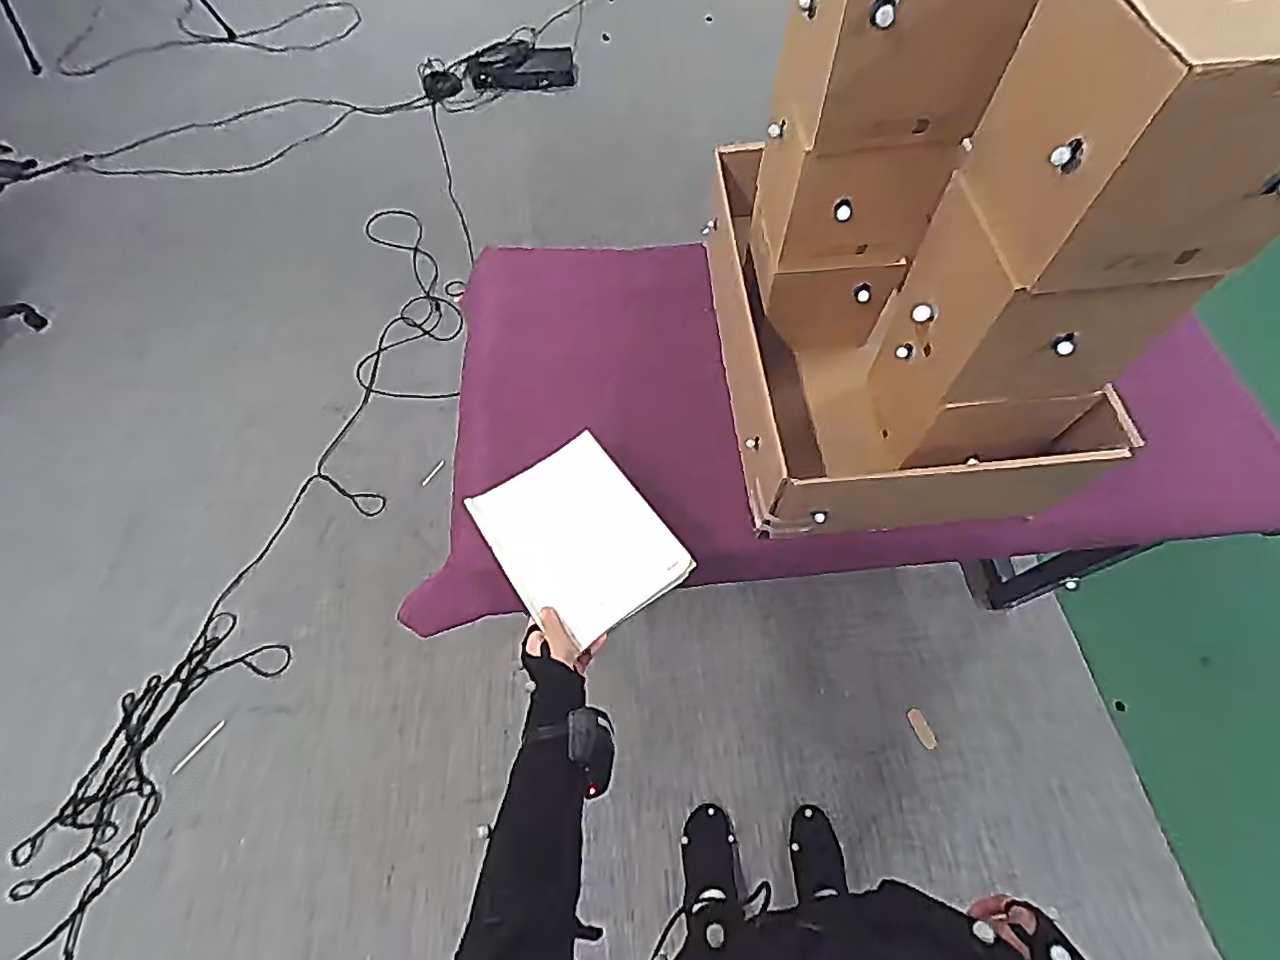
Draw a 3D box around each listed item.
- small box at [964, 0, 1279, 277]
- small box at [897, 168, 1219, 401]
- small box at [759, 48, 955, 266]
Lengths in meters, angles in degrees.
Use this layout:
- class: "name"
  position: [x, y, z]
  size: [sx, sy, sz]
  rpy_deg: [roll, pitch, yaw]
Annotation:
- class: "small box"
  position: [0.387, -0.274, 0.412]
  size: [0.168, 0.176, 0.179]
  rpy_deg: [-4, 61, 3]
- class: "small box"
  position: [0.397, -0.199, 0.557]
  size: [0.179, 0.176, 0.168]
  rpy_deg: [-5, 61, 4]
- class: "small box"
  position: [0.249, -0.386, 0.670]
  size: [0.168, 0.176, 0.179]
  rpy_deg: [-4, 64, 2]
